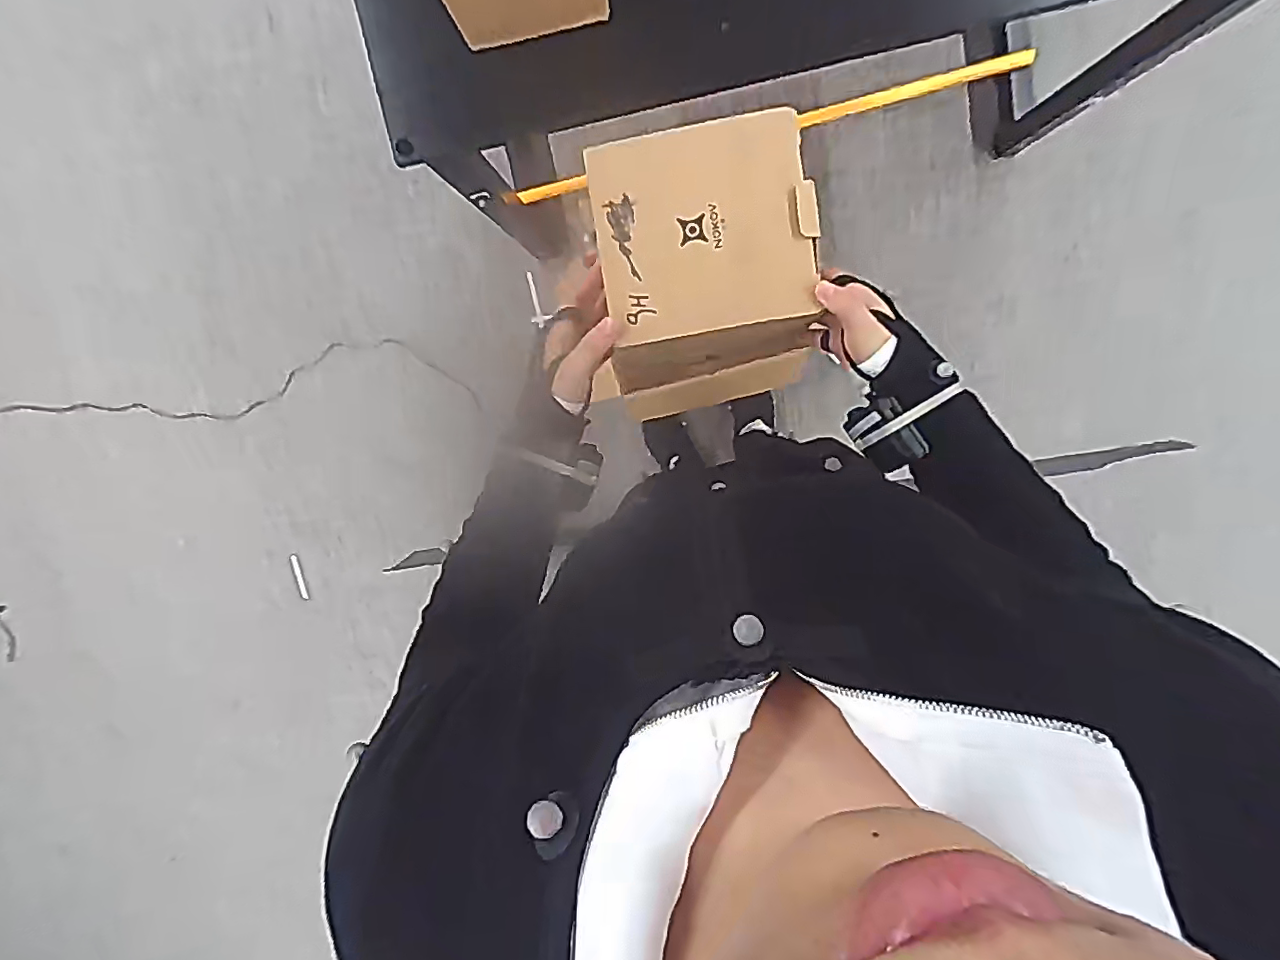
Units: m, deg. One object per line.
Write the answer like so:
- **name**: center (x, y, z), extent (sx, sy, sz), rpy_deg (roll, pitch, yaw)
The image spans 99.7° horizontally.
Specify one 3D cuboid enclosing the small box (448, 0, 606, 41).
- **small box**: center (-0.137, -0.597, 0.553), extent (0.179, 0.176, 0.168), rpy_deg (-10, 102, 4)
